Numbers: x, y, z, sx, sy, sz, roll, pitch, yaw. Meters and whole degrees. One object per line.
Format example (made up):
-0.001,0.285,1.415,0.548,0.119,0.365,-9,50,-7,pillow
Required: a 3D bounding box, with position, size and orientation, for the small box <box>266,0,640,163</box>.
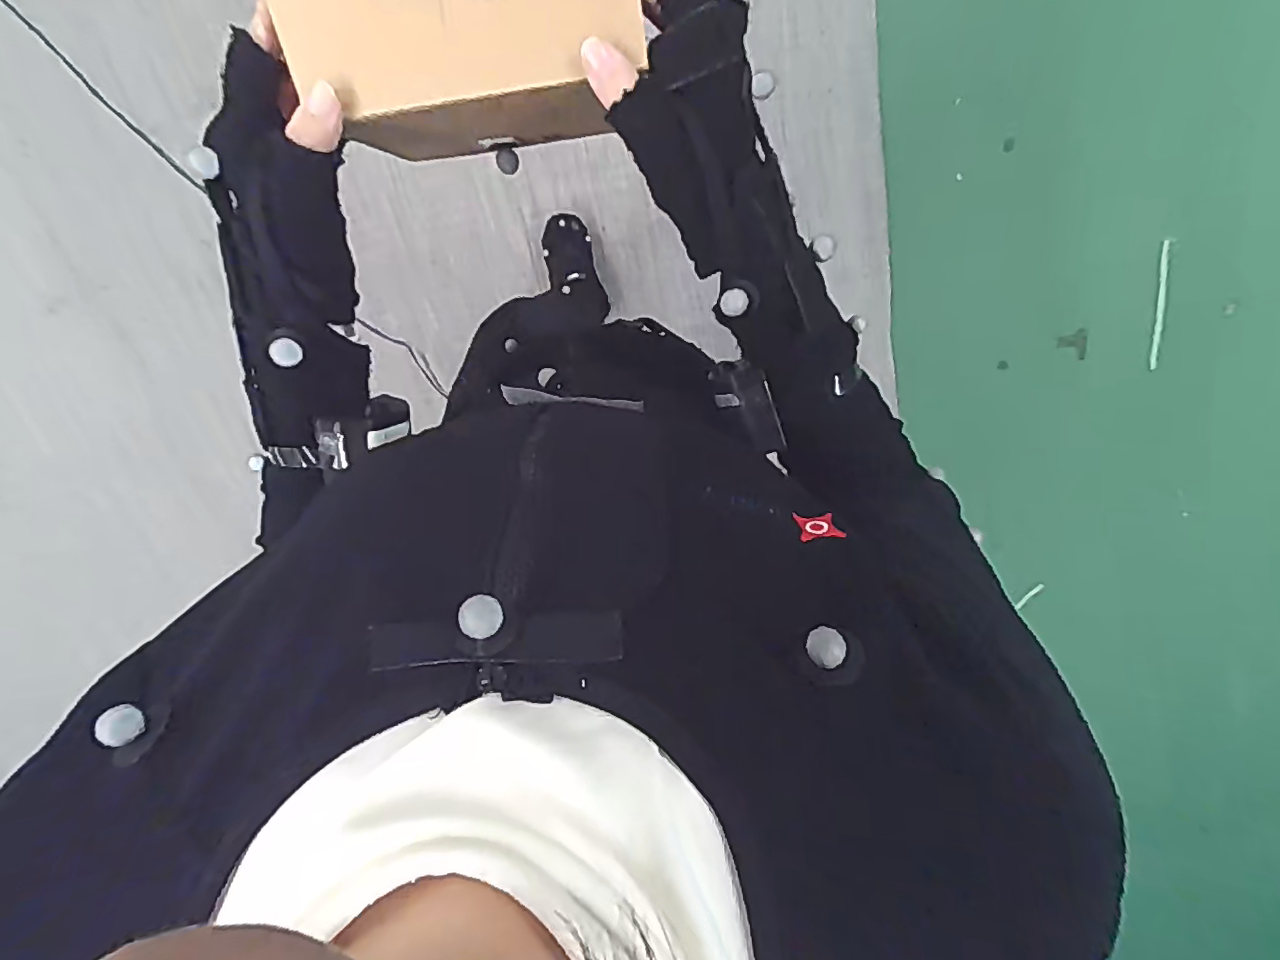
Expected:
-0.096,-0.296,0.297,0.168,0.176,0.179,-9,114,1,small box
